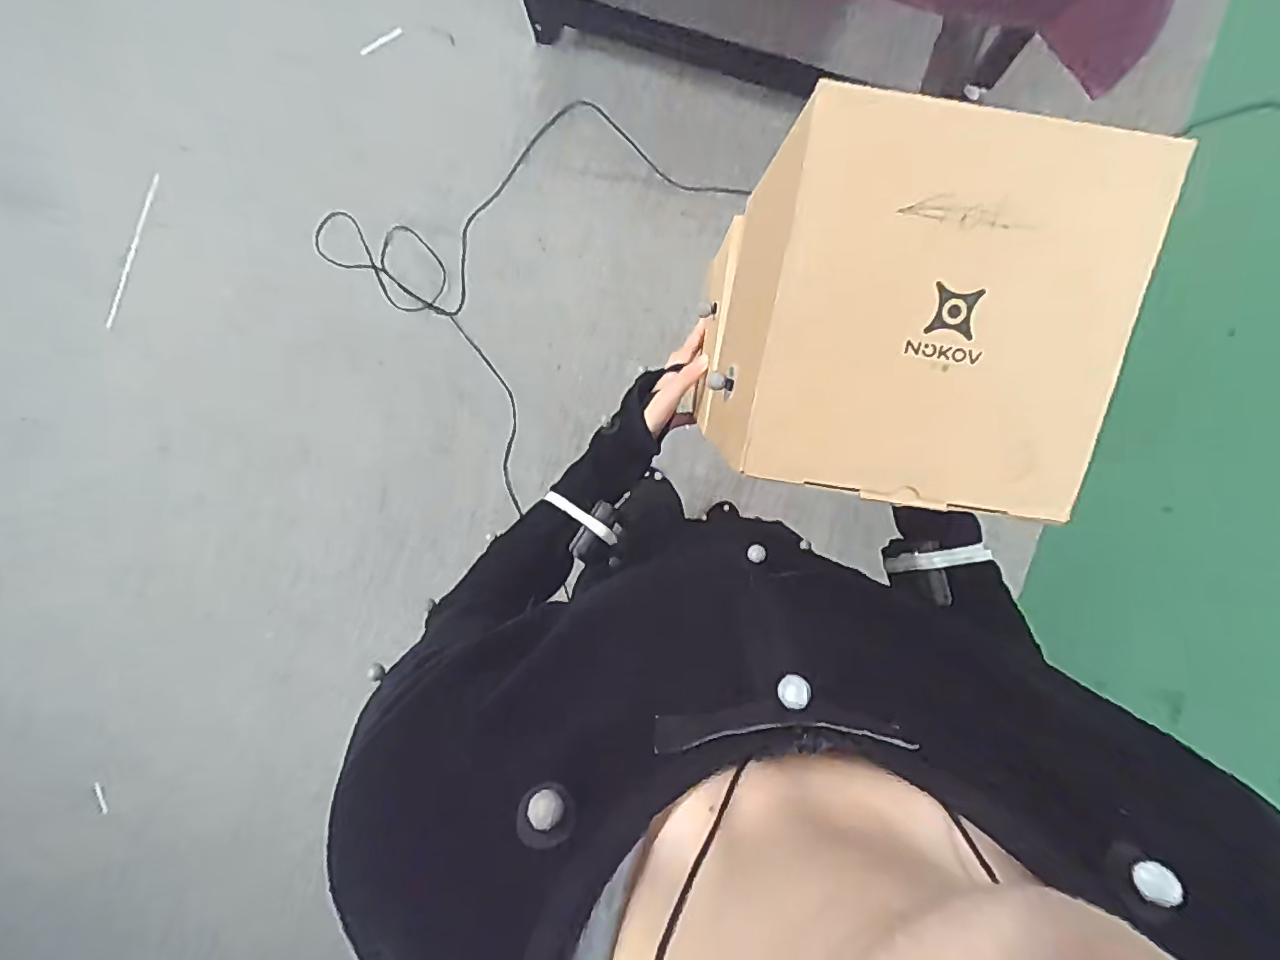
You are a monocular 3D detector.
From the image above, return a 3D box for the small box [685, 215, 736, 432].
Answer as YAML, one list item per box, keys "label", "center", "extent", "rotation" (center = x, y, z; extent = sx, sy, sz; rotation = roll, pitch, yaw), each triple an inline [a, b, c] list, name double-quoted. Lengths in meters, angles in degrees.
- label: "small box"
  center: [0.138, -0.119, 0.489]
  extent: [0.179, 0.176, 0.168]
  rotation: [7, 101, 0]

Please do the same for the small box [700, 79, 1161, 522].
- label: "small box"
  center: [0.135, -0.091, 0.328]
  extent: [0.168, 0.176, 0.179]
  rotation: [9, 100, -1]
